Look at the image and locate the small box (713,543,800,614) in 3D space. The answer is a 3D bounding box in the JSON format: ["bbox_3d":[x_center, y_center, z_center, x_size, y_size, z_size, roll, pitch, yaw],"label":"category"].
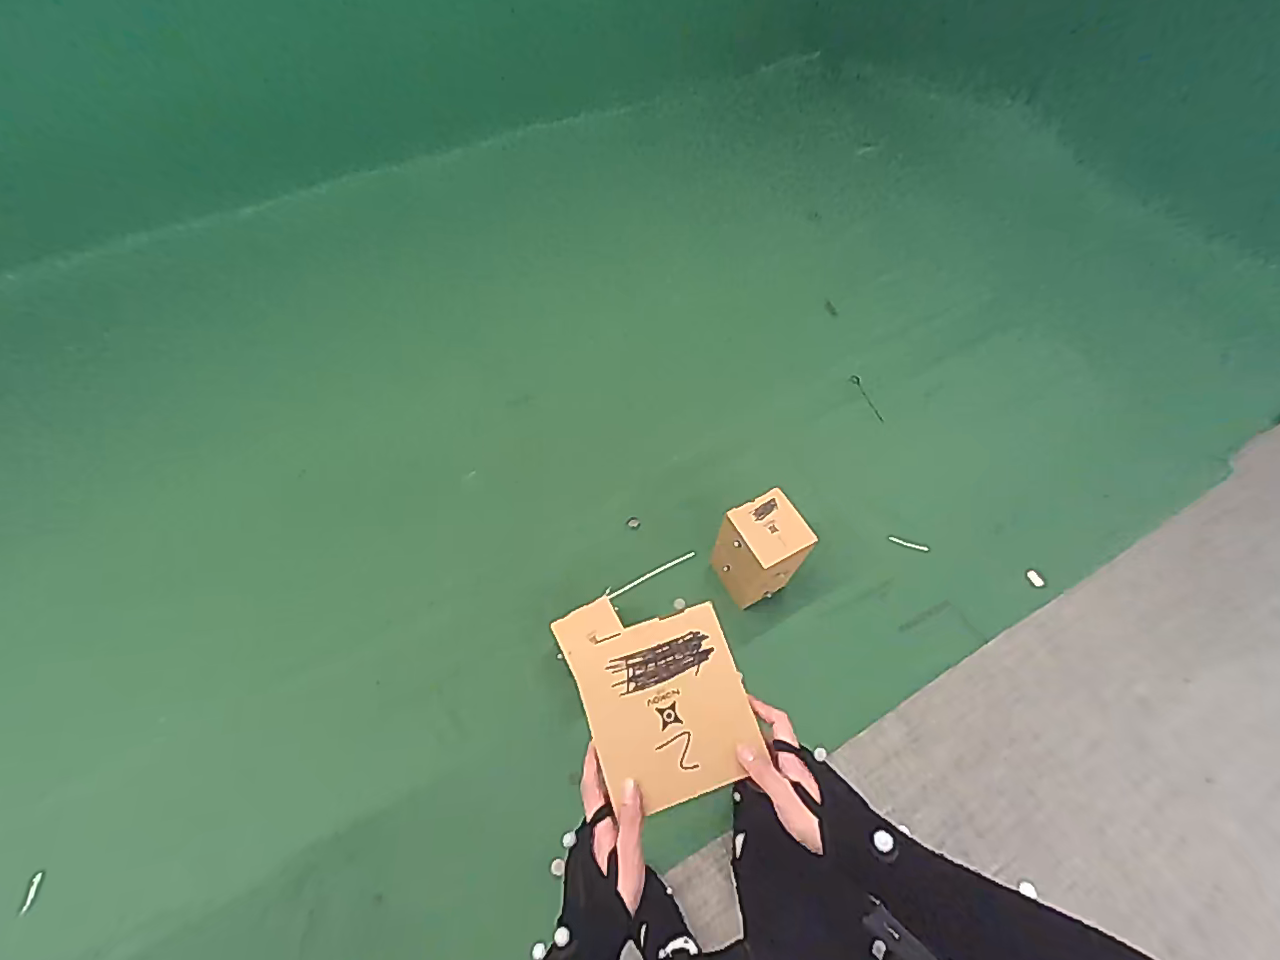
[{"bbox_3d":[0.327,0.260,1.563,0.168,0.176,0.179,-24,63,-15],"label":"small box"}]

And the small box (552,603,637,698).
[{"bbox_3d":[-0.116,0.460,1.437,0.168,0.176,0.179,-25,62,-15],"label":"small box"}]

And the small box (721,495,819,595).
[{"bbox_3d":[0.332,0.174,1.423,0.168,0.176,0.179,-24,63,-15],"label":"small box"}]
